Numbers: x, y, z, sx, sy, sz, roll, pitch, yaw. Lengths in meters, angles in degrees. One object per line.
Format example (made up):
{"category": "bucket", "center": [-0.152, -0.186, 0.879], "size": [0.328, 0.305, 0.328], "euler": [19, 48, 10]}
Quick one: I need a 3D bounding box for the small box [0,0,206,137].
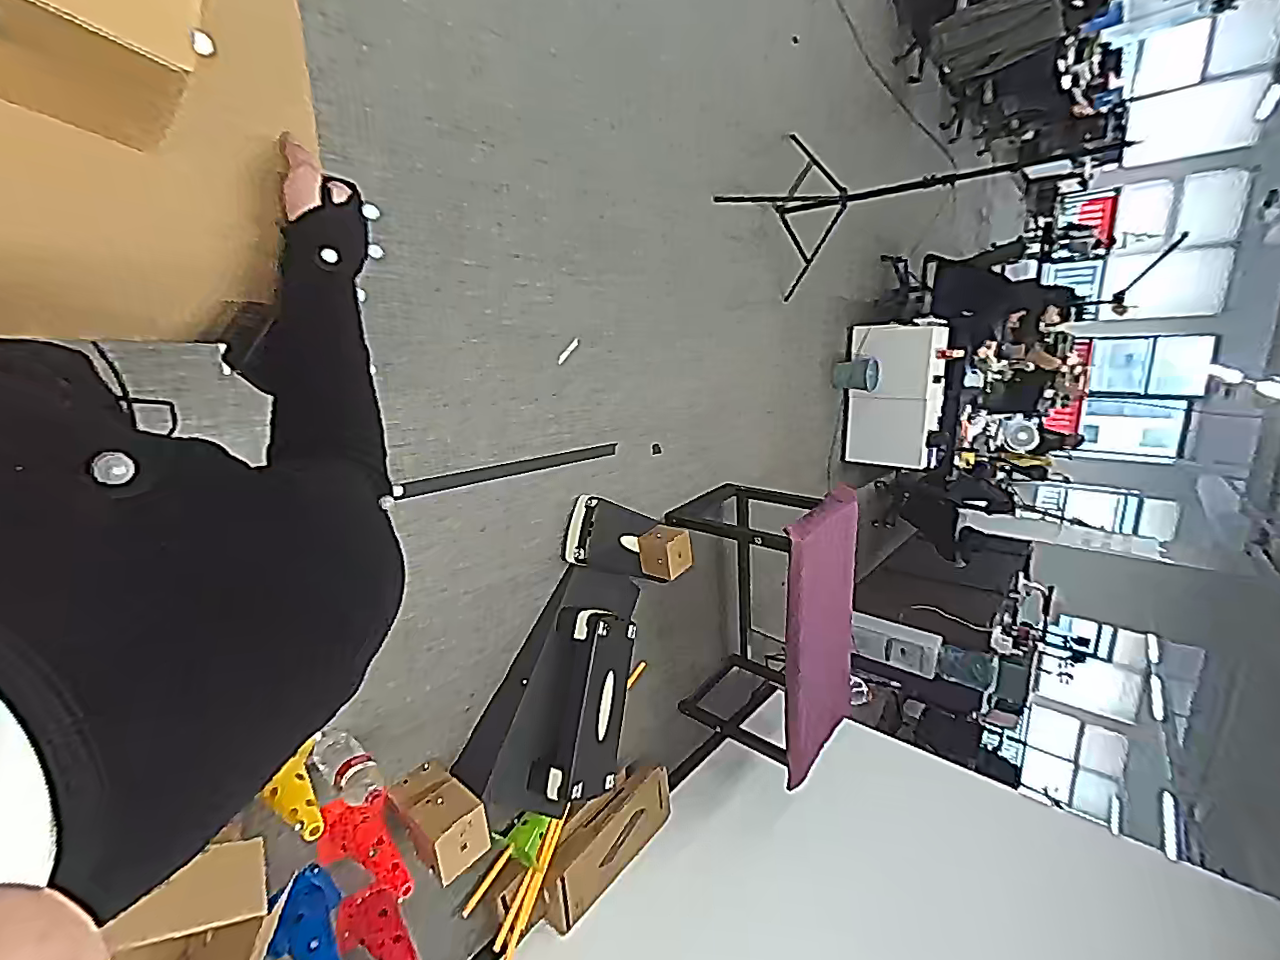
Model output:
{"category": "small box", "center": [-0.397, -0.352, 0.340], "size": [0.179, 0.176, 0.168], "euler": [4, 93, -47]}
